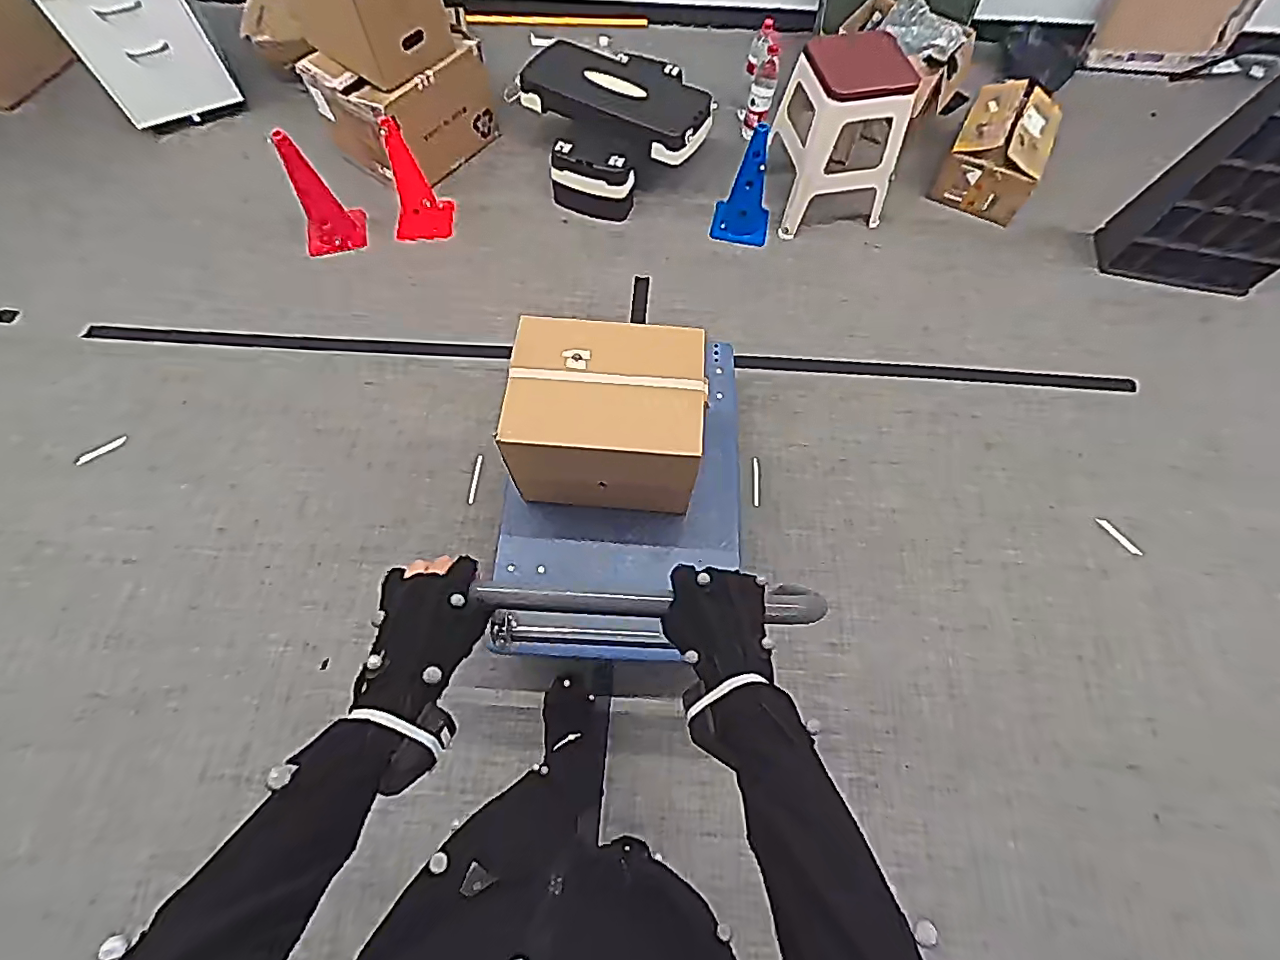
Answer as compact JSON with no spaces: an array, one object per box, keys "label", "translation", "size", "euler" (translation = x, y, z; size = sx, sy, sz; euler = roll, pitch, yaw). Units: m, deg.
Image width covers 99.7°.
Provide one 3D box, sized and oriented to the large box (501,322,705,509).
[{"label":"large box","translation":[-0.066,-0.134,1.251],"size":[0.408,0.320,0.320],"euler":[5,66,1]}]
